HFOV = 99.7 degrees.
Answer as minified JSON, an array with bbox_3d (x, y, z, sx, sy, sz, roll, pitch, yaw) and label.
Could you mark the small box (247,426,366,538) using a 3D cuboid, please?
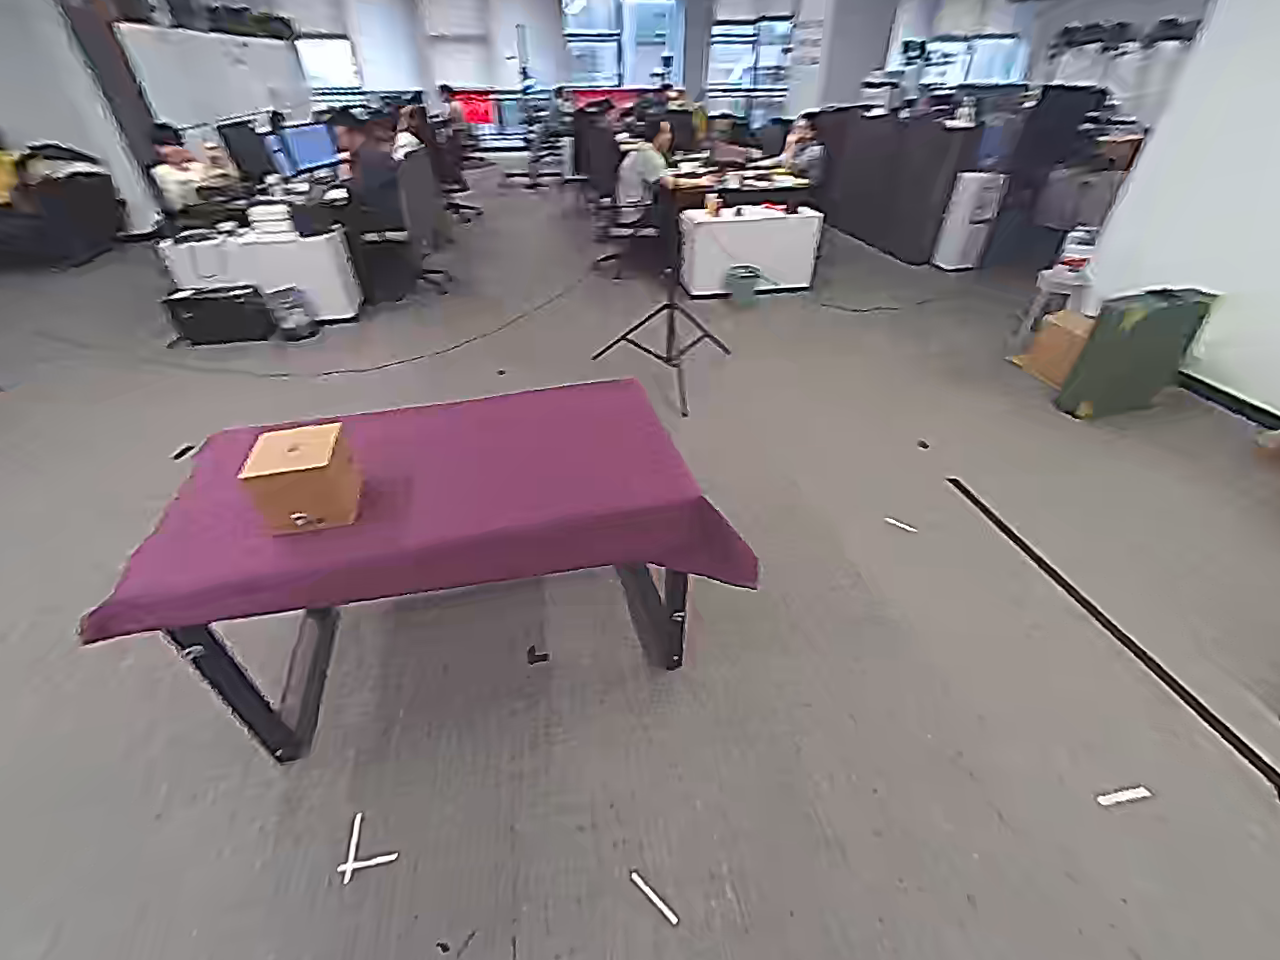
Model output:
[{"bbox_3d":[-0.730,0.003,1.211,0.168,0.176,0.179,-11,39,-12],"label":"small box"}]
